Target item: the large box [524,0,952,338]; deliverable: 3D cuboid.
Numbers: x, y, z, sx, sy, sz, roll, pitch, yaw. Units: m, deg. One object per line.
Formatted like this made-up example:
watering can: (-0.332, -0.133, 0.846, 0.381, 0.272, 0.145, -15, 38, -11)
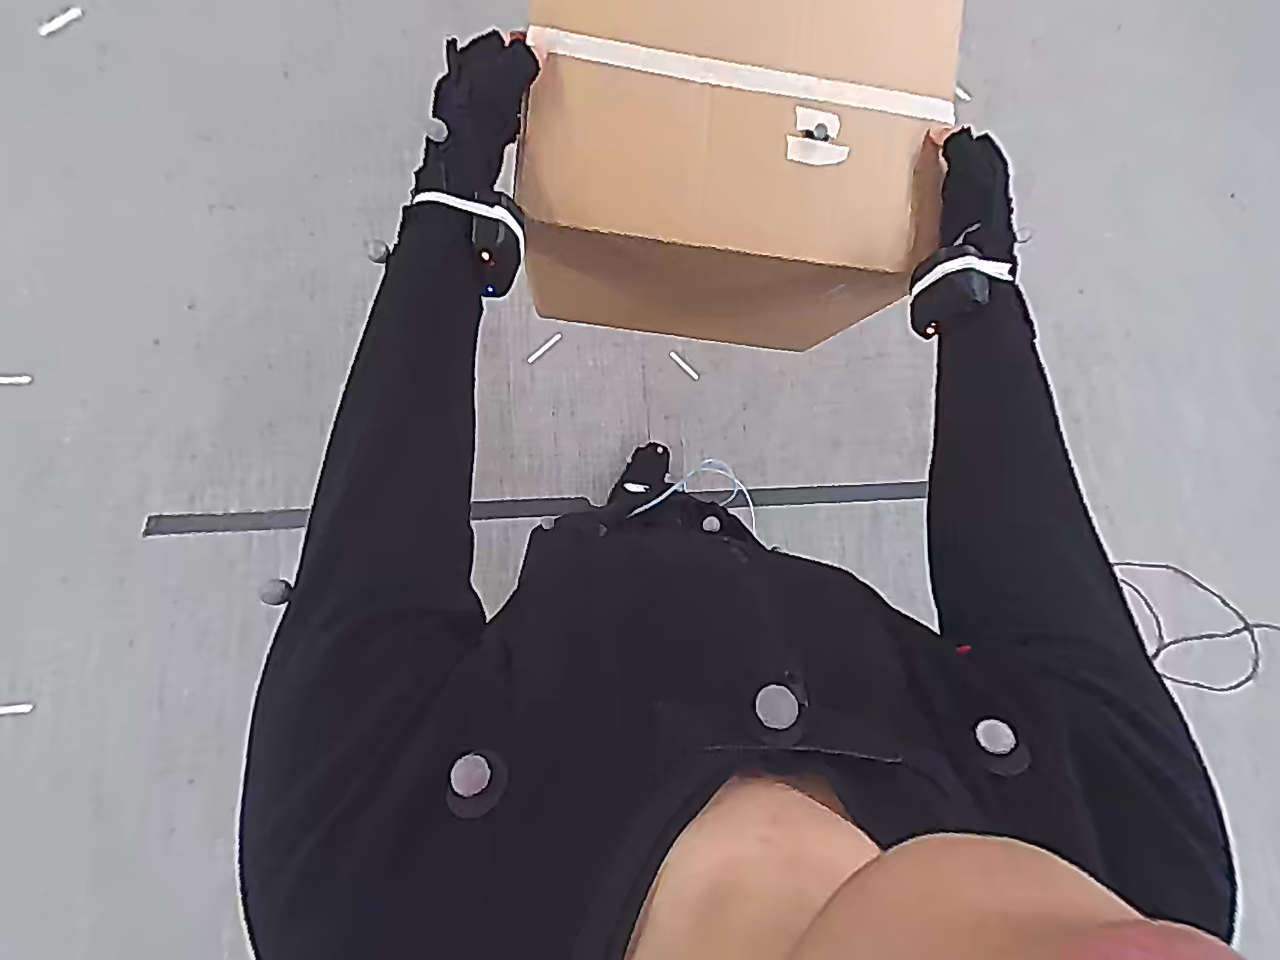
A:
large box: (0.082, -0.382, 0.656, 0.408, 0.320, 0.320, 6, 91, -7)
